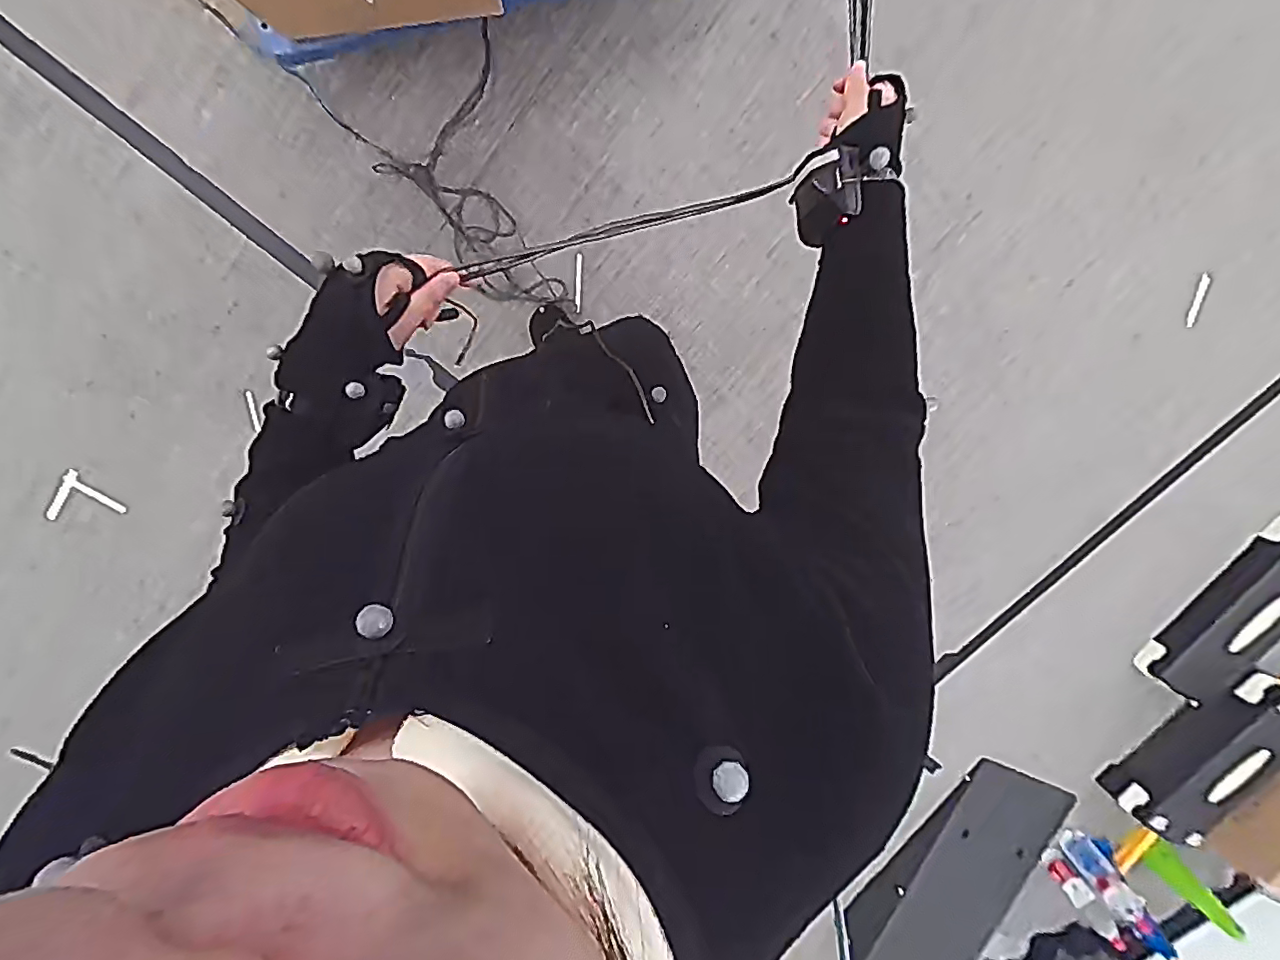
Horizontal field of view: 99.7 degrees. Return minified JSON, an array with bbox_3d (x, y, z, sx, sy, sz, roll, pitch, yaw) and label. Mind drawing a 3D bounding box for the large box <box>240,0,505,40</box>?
[{"bbox_3d":[-0.455,-0.924,0.805,0.408,0.320,0.320,-9,110,-1],"label":"large box"}]
